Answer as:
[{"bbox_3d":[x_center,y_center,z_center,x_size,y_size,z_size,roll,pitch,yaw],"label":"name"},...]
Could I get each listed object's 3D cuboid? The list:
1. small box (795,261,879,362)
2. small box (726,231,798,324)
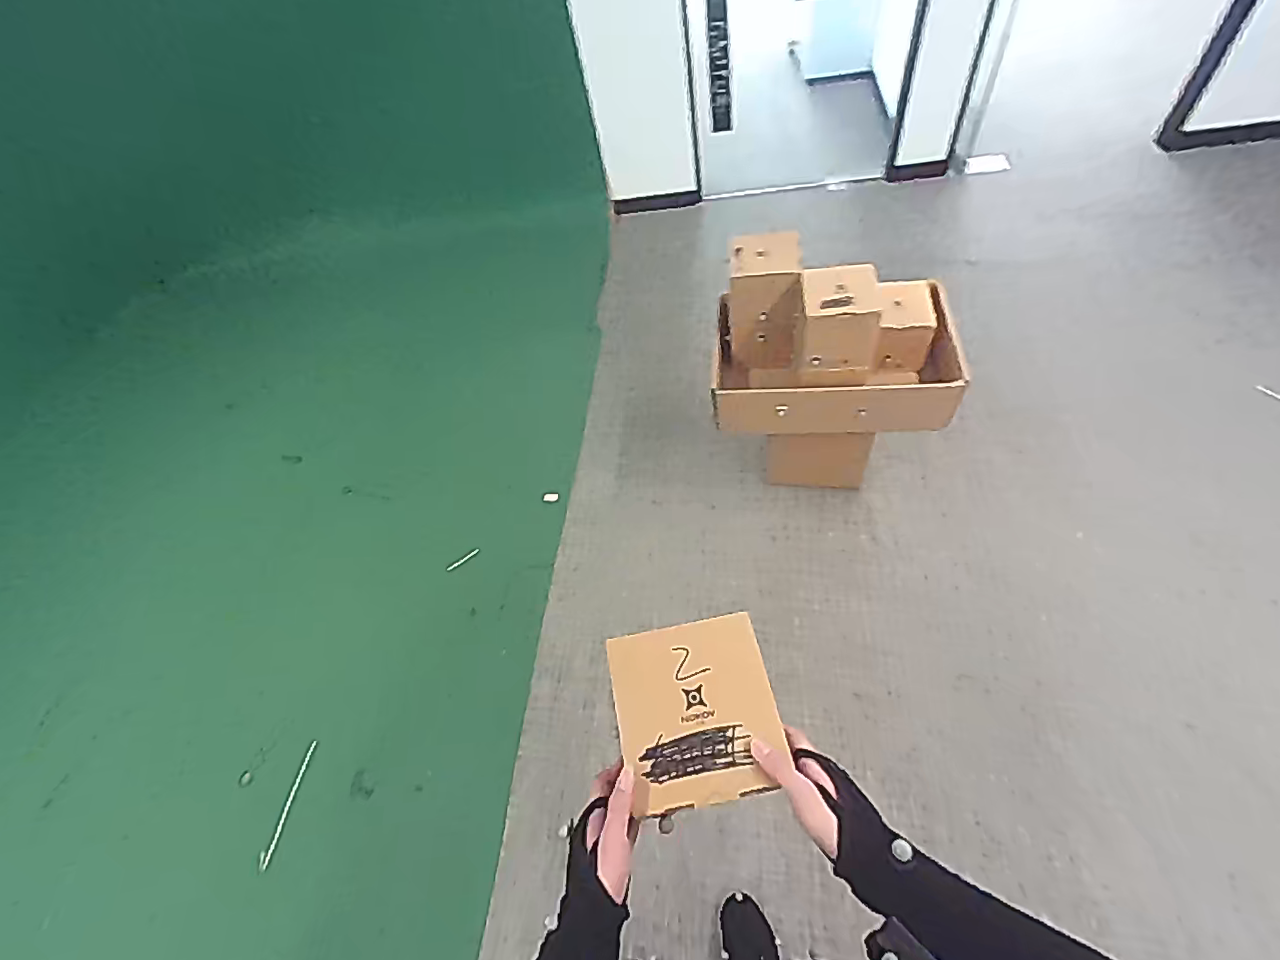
[{"bbox_3d":[0.470,-0.402,1.316,0.168,0.176,0.179,-1,56,10],"label":"small box"},{"bbox_3d":[0.319,-0.533,1.437,0.179,0.176,0.168,1,57,11],"label":"small box"}]
